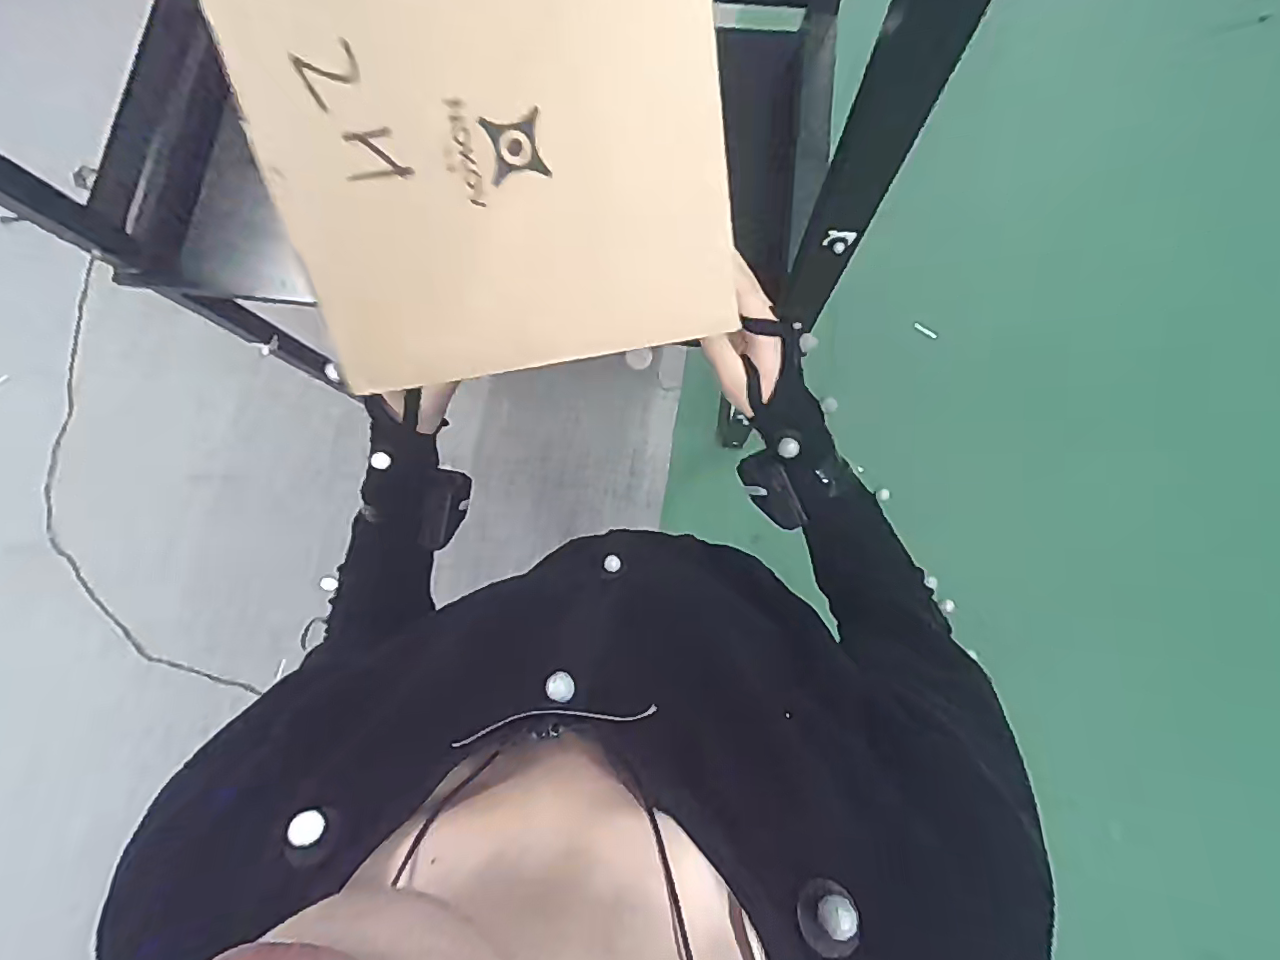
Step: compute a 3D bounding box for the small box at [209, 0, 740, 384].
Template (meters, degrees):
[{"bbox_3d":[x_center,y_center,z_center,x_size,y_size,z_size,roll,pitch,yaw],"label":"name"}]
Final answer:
[{"bbox_3d":[-0.058,-0.159,0.278,0.179,0.176,0.168,-9,112,1],"label":"small box"}]
